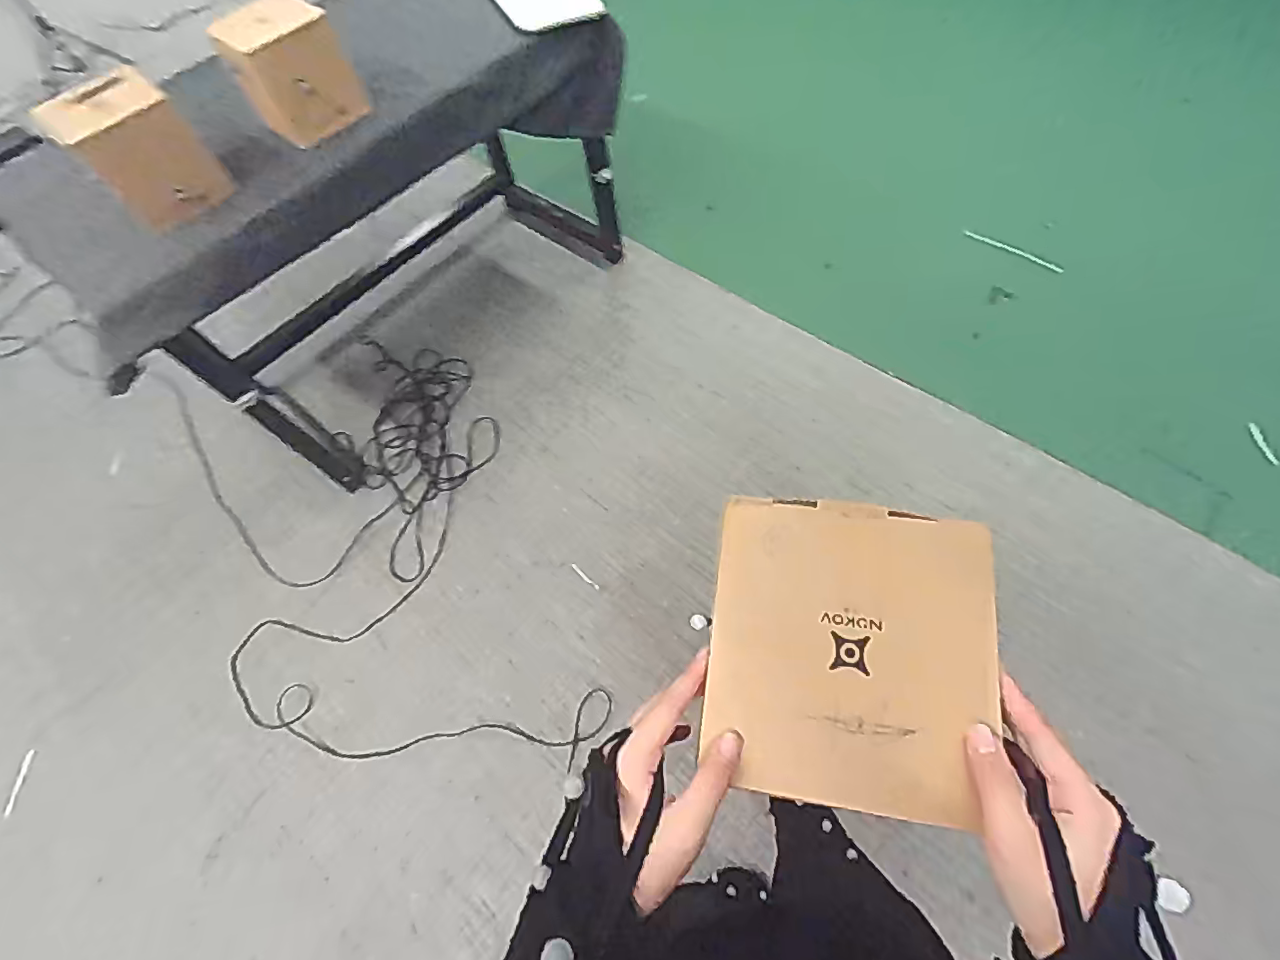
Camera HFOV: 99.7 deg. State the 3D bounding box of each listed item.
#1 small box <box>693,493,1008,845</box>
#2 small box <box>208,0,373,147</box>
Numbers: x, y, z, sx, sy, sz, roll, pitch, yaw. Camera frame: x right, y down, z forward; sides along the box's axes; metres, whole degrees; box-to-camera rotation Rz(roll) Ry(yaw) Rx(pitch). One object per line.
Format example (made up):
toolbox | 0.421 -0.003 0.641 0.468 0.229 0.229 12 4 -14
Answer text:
small box | 0.129 0.125 0.390 0.168 0.176 0.179 6 71 9
small box | -0.656 -0.776 1.036 0.179 0.176 0.168 38 73 23
